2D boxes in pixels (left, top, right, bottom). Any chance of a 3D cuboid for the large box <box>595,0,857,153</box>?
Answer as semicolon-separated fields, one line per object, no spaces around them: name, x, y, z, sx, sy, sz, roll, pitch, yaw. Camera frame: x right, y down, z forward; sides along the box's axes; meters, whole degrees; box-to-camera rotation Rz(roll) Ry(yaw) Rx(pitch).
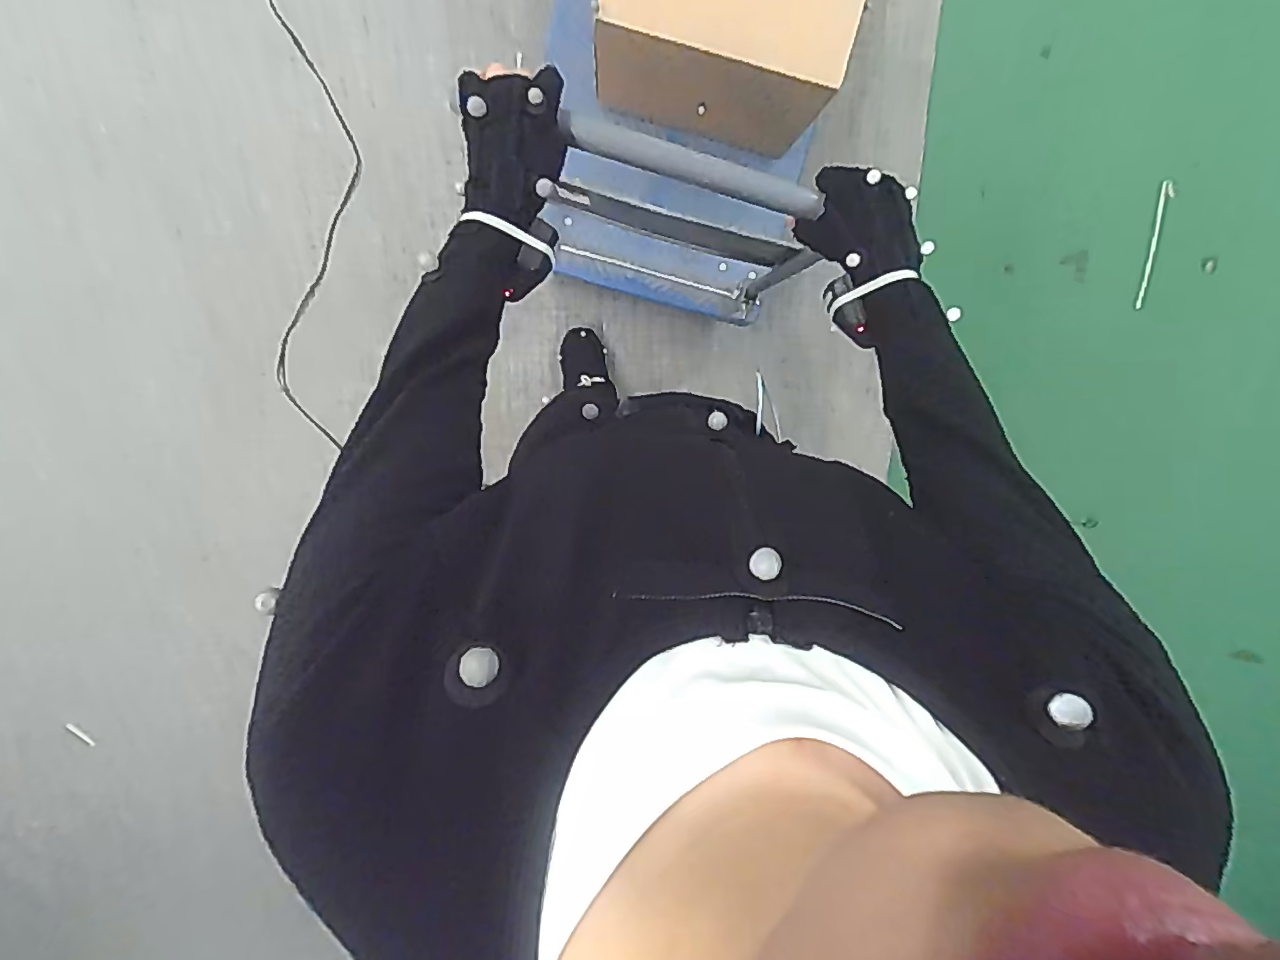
large box;0.148;-0.845;0.971;0.408;0.320;0.320;12;101;-6
